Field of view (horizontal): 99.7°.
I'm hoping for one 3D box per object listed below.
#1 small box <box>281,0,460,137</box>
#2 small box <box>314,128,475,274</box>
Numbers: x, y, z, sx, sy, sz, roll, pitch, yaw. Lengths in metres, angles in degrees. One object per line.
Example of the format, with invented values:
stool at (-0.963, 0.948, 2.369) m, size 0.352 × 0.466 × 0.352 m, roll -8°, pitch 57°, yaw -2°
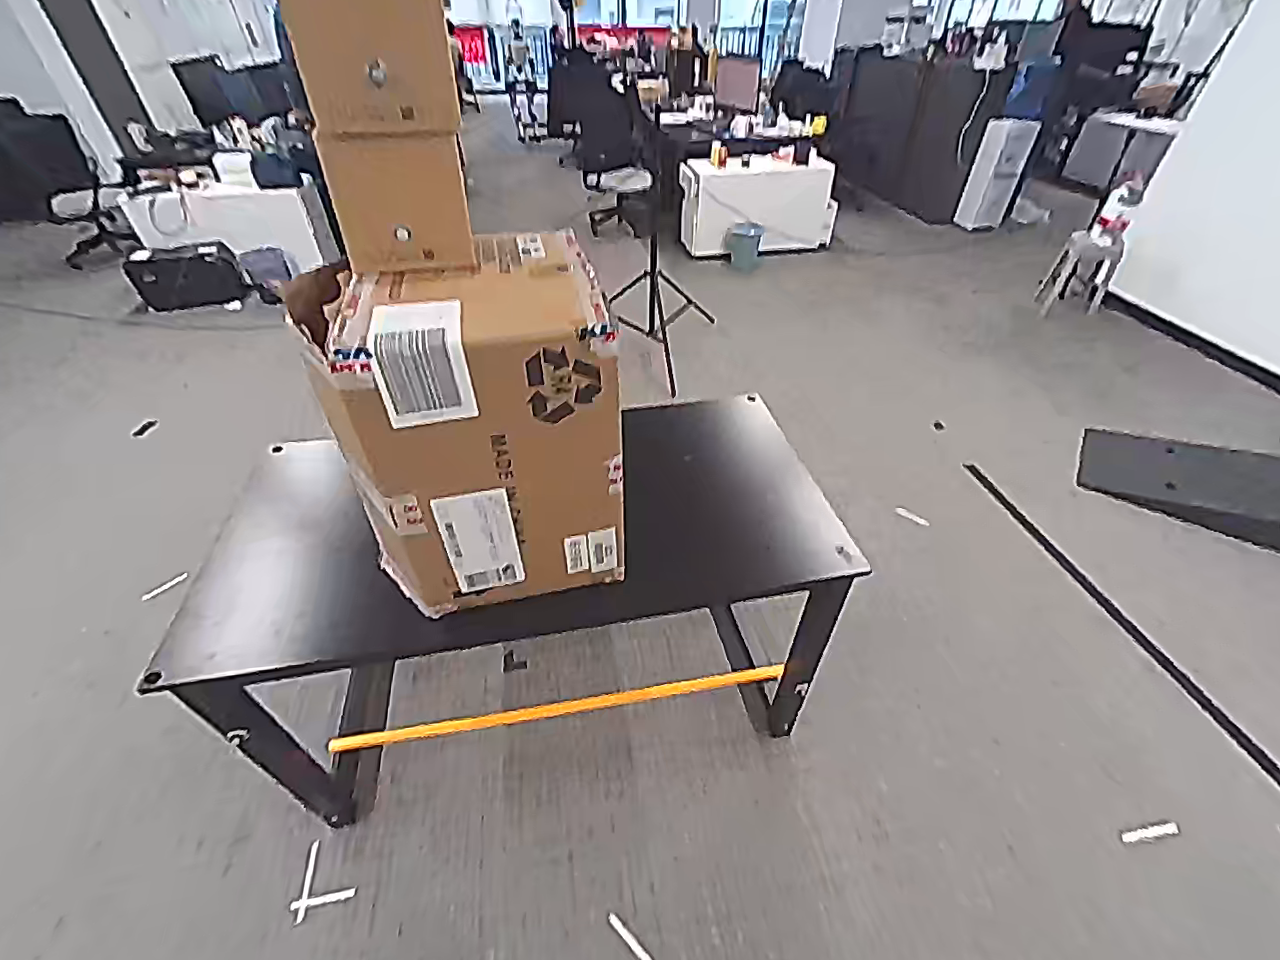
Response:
small box at (-0.324, -0.531, 0.664) m, size 0.168 × 0.176 × 0.179 m, roll -11°, pitch 40°, yaw -15°
small box at (-0.336, -0.406, 0.773) m, size 0.168 × 0.176 × 0.179 m, roll -10°, pitch 41°, yaw -13°
